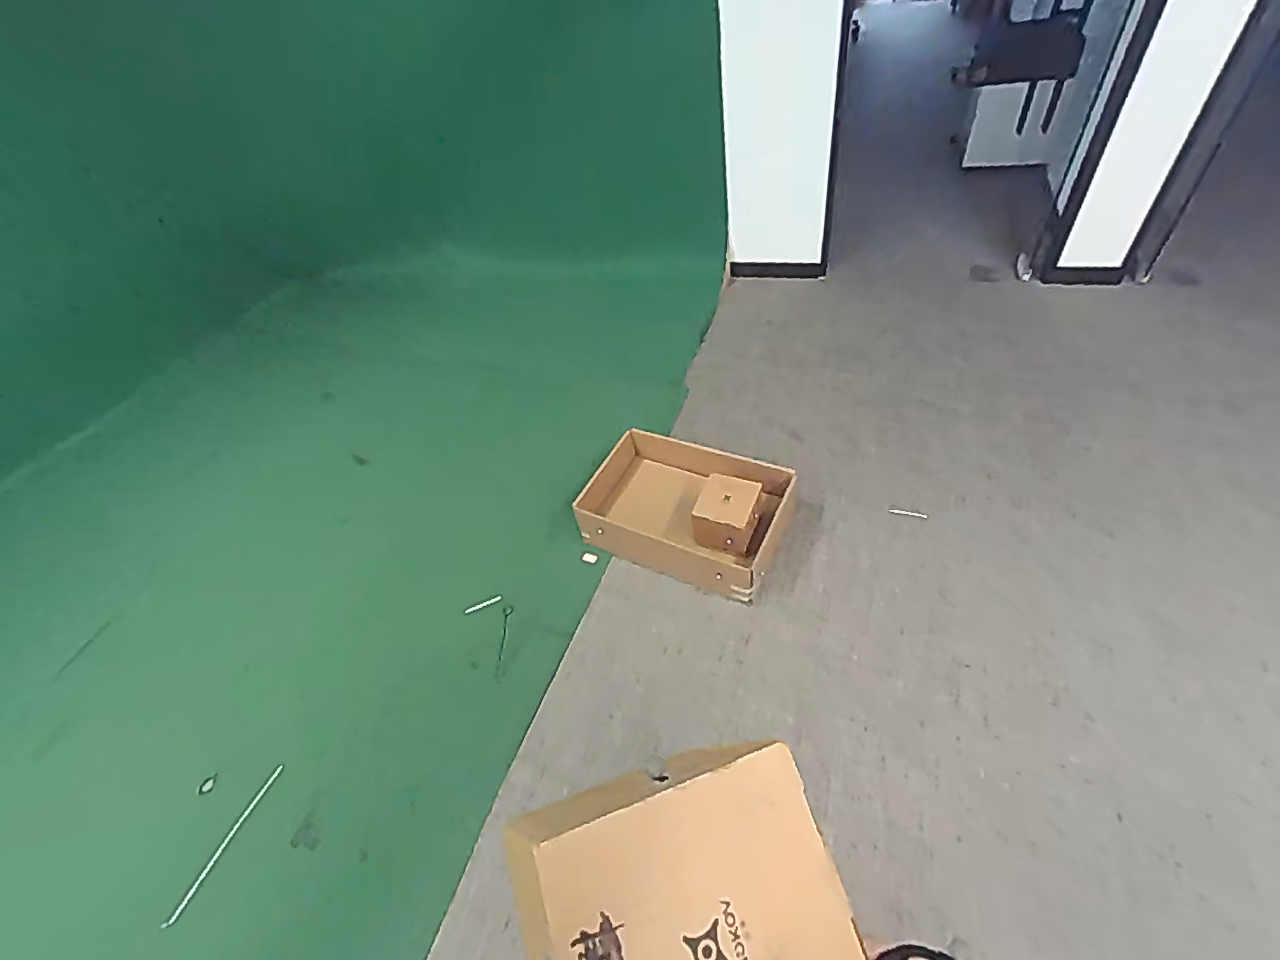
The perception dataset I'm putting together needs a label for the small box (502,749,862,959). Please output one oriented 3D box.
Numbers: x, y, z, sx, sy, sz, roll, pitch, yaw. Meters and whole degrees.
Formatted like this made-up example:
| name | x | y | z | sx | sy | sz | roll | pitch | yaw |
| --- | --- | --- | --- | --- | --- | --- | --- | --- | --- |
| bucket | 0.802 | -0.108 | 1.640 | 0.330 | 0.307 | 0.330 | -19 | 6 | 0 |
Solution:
| name | x | y | z | sx | sy | sz | roll | pitch | yaw |
| --- | --- | --- | --- | --- | --- | --- | --- | --- | --- |
| small box | 0.017 | 0.297 | 0.365 | 0.179 | 0.176 | 0.168 | -8 | 65 | -25 |
